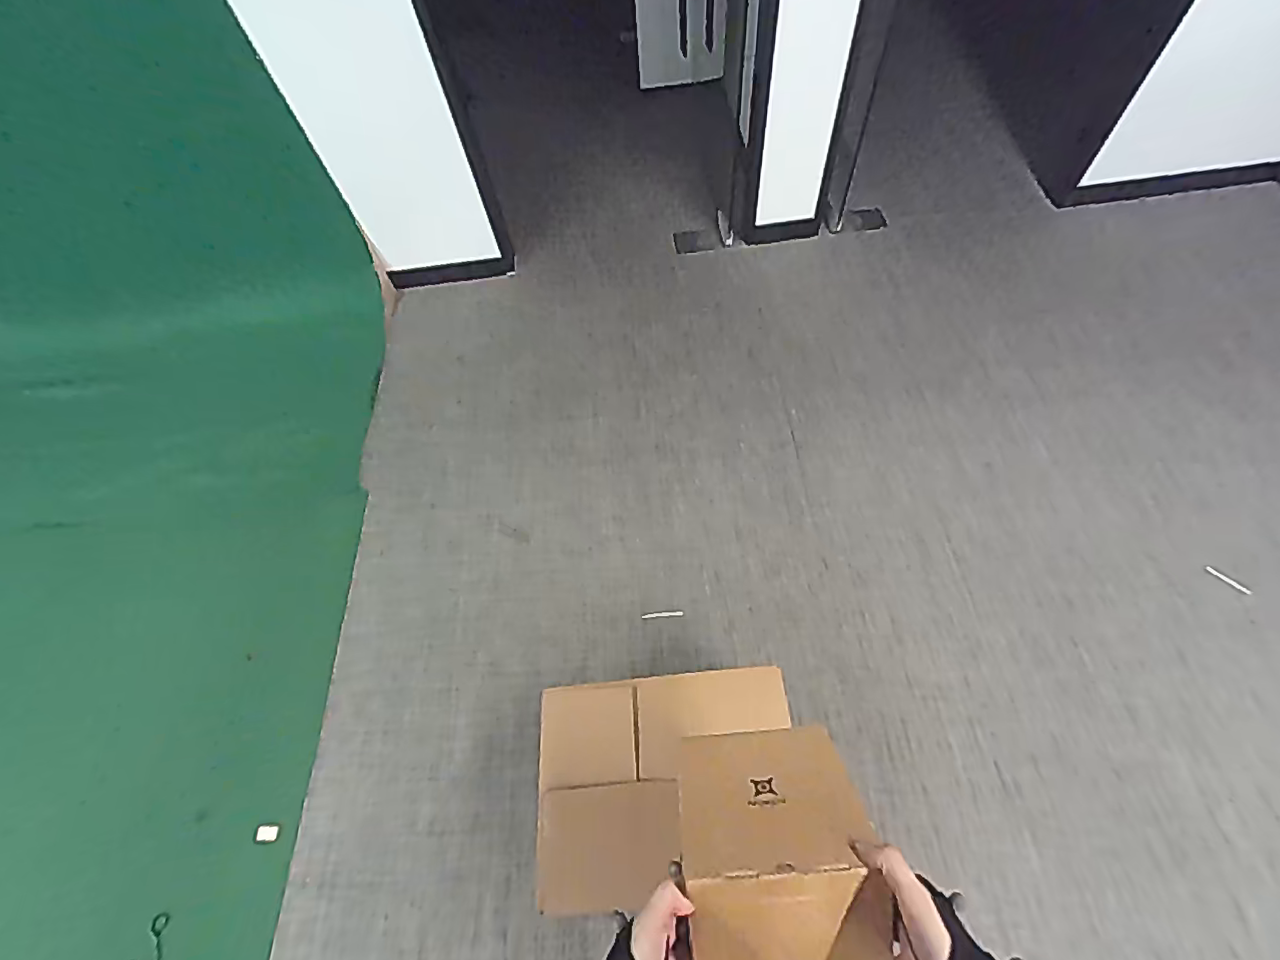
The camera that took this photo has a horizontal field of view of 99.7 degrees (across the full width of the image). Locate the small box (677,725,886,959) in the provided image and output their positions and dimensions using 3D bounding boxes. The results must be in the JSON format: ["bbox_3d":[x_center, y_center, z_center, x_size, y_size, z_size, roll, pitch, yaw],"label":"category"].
[{"bbox_3d":[0.124,0.374,0.531,0.168,0.179,0.176,-6,103,3],"label":"small box"}]
